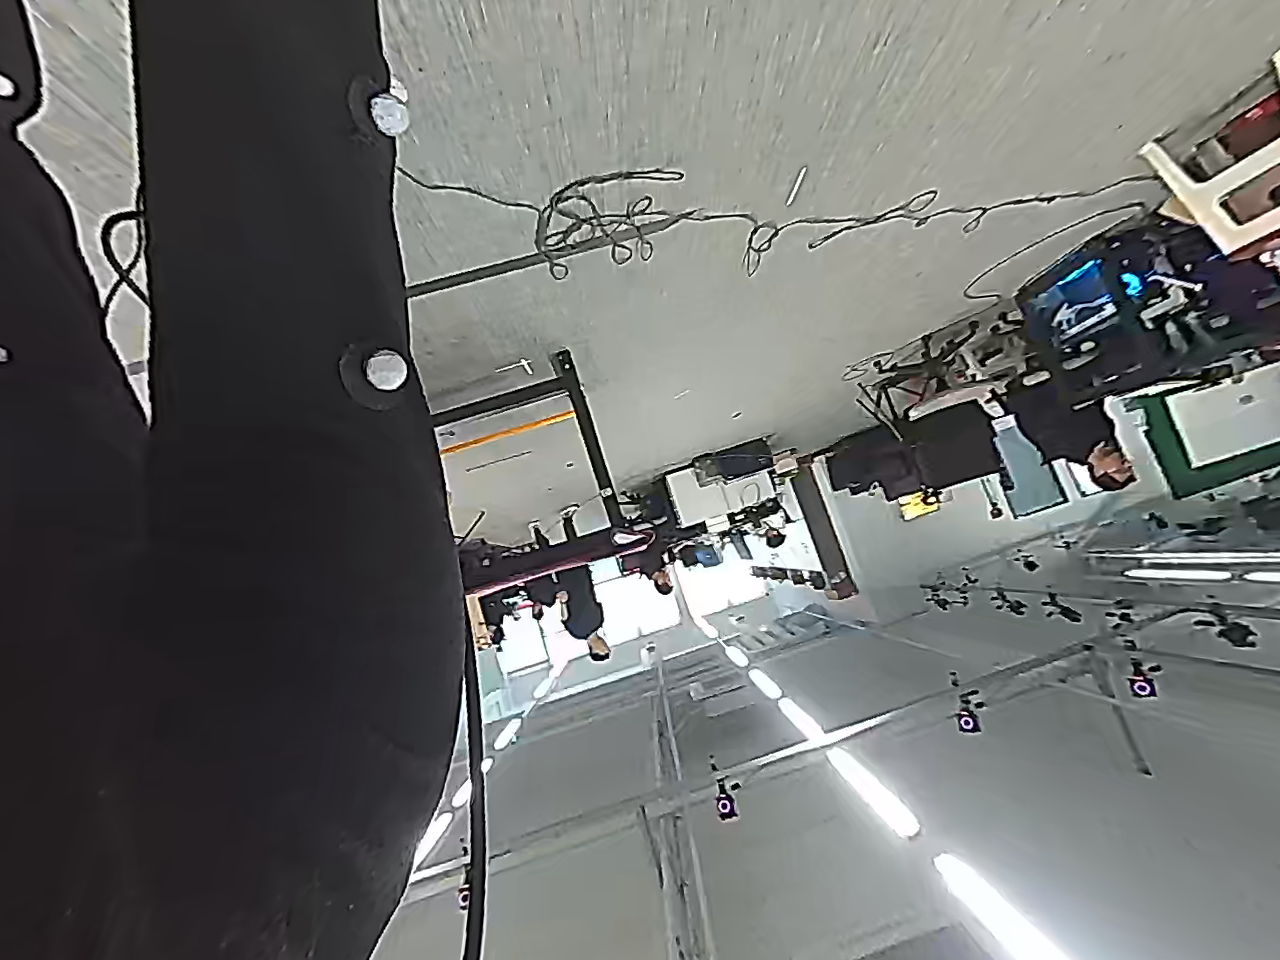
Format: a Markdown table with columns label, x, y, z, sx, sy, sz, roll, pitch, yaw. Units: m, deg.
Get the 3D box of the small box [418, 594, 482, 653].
| label | x | y | z | sx | sy | sz | roll | pitch | yaw |
| --- | --- | --- | --- | --- | --- | --- | --- | --- | --- |
| small box | -0.715 | 0.534 | 2.038 | 0.168 | 0.176 | 0.179 | -18 | 172 | -7 |
